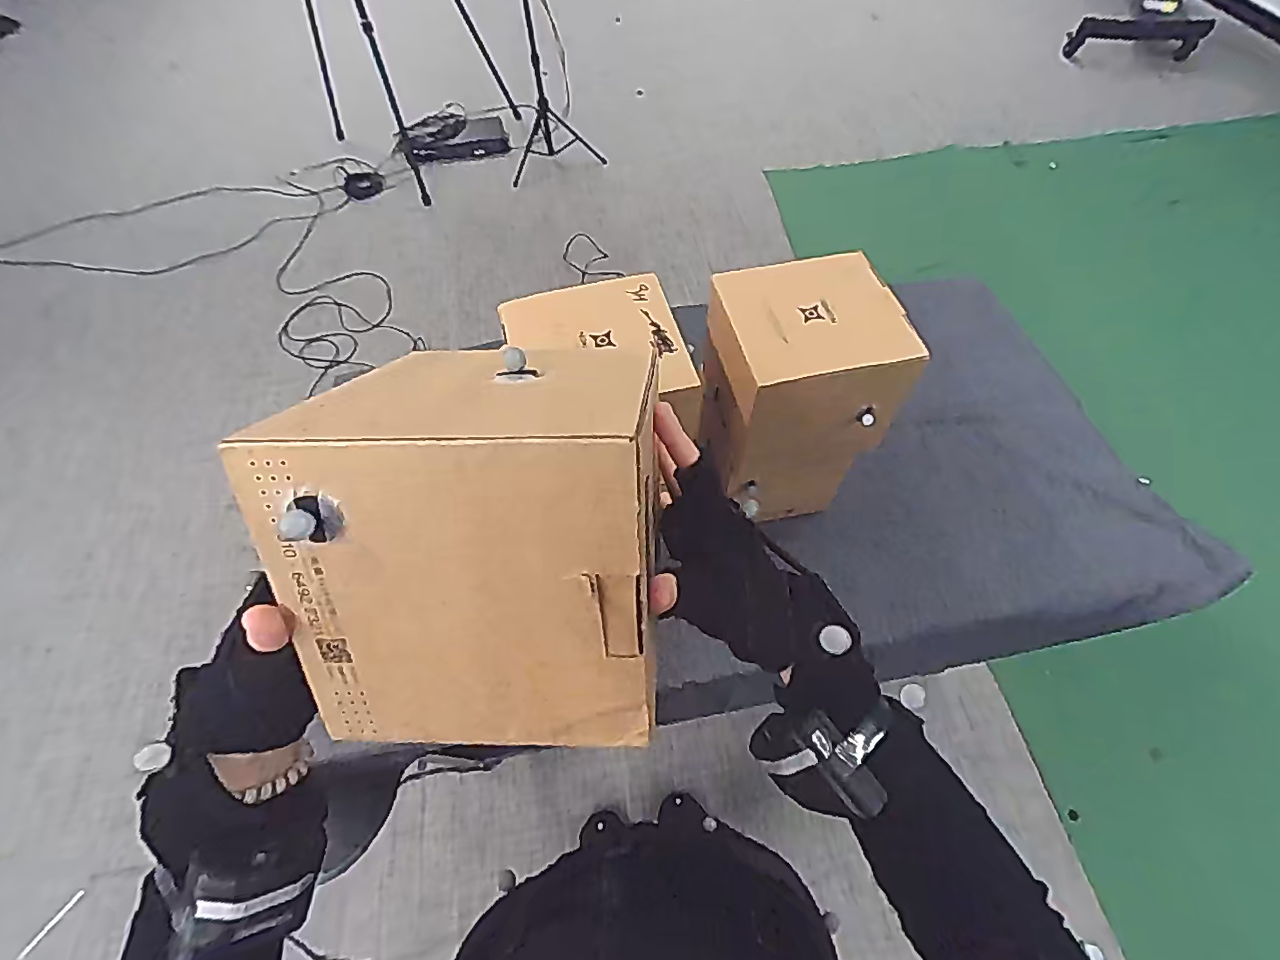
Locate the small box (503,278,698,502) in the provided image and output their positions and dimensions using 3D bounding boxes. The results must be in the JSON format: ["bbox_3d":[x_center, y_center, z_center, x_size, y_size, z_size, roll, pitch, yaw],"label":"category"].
[{"bbox_3d":[-0.040,-0.094,0.617,0.179,0.176,0.168,-14,61,-5],"label":"small box"}]
